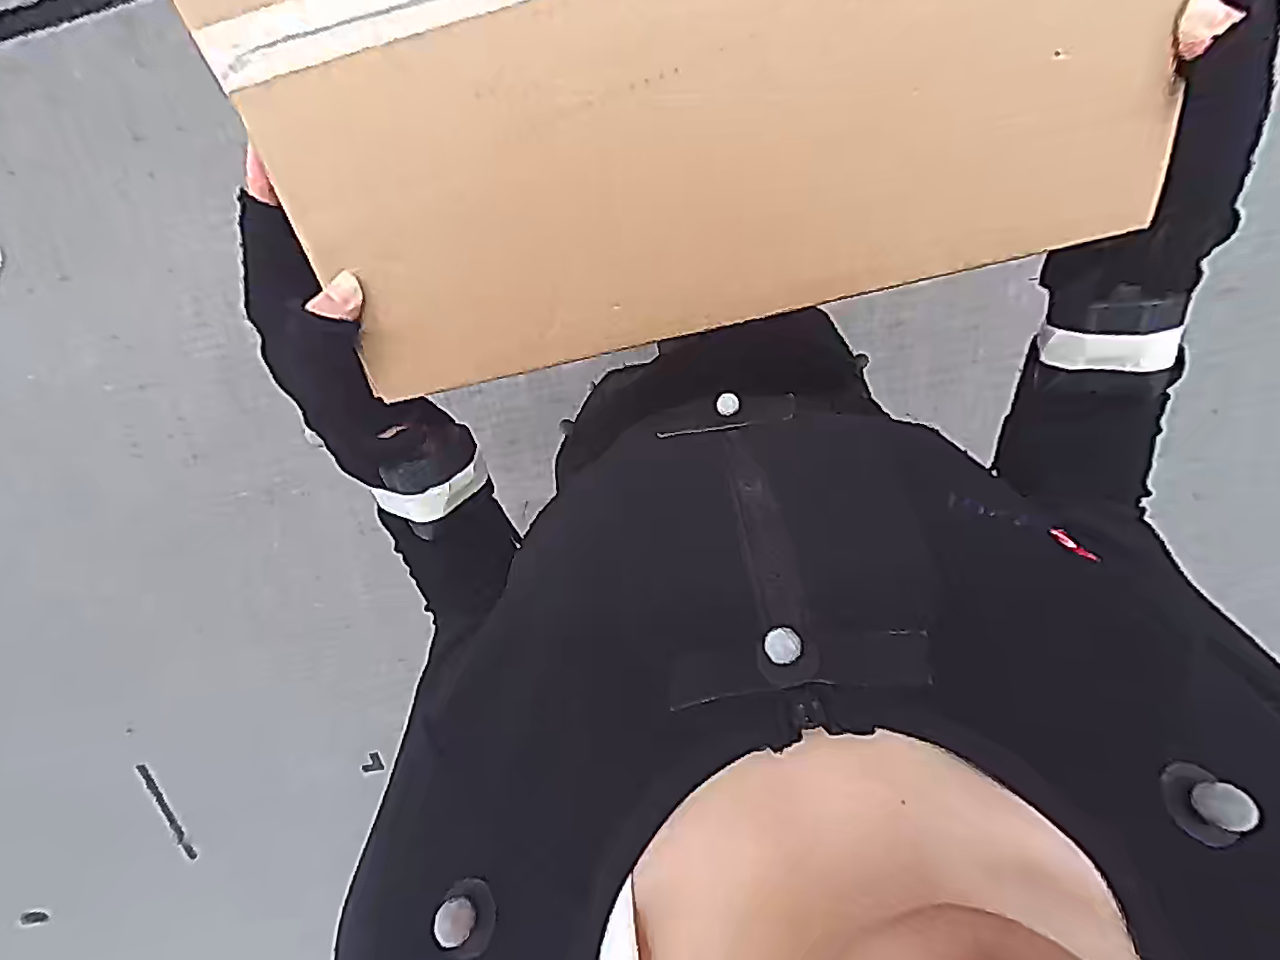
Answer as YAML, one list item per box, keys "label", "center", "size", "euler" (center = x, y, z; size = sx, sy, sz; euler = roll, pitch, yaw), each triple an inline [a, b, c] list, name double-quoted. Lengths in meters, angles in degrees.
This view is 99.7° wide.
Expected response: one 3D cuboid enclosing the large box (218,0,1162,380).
- label: "large box"
  center: [0.013, -0.299, 0.351]
  size: [0.408, 0.320, 0.320]
  euler: [-12, 119, 5]
